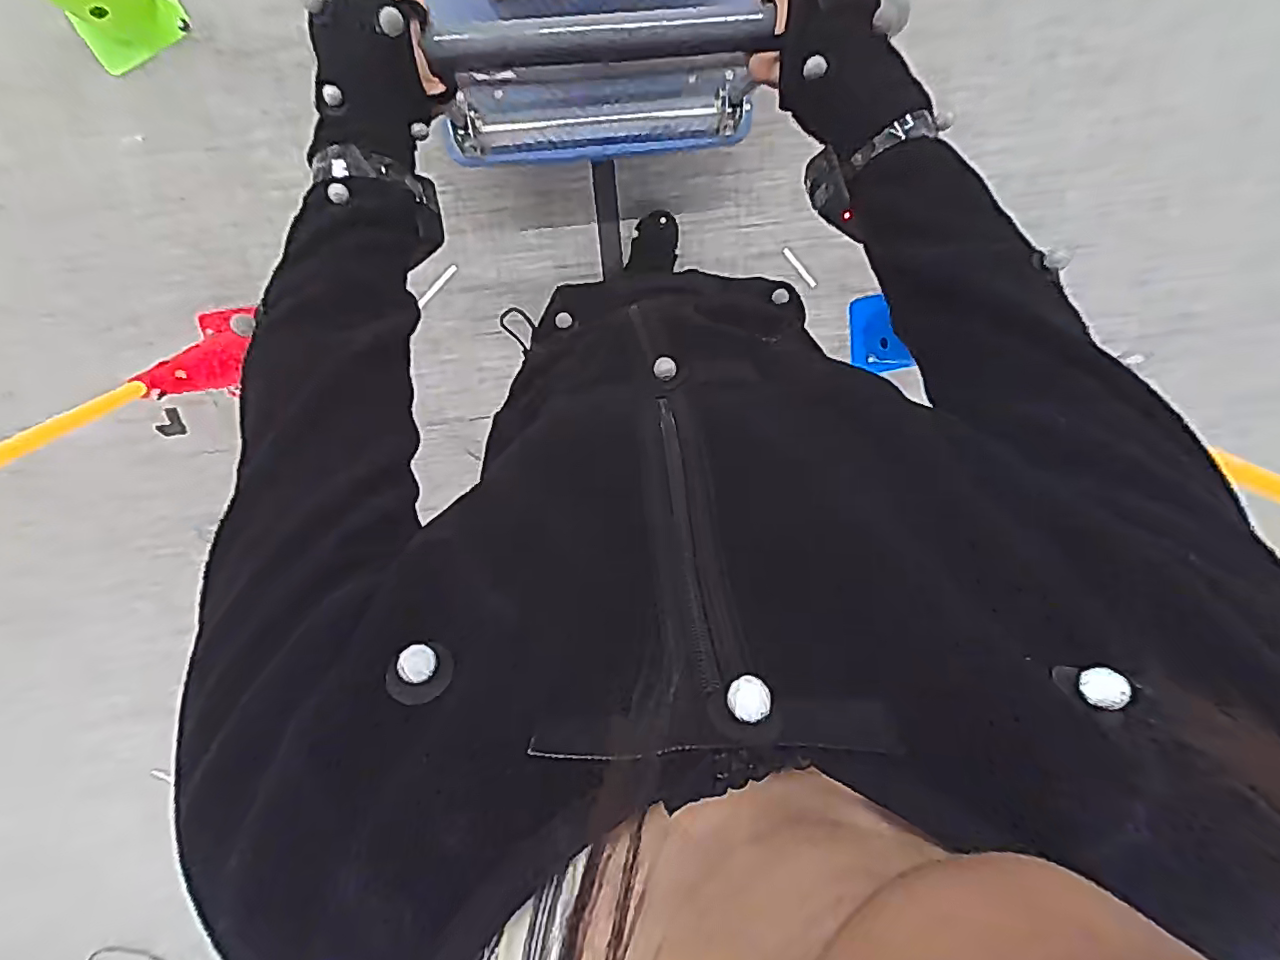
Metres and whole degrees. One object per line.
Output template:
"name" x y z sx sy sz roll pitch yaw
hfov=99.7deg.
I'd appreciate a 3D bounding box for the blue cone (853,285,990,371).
"blue cone" 0.646 -0.317 1.214 0.193 0.380 0.192 -10 112 0
